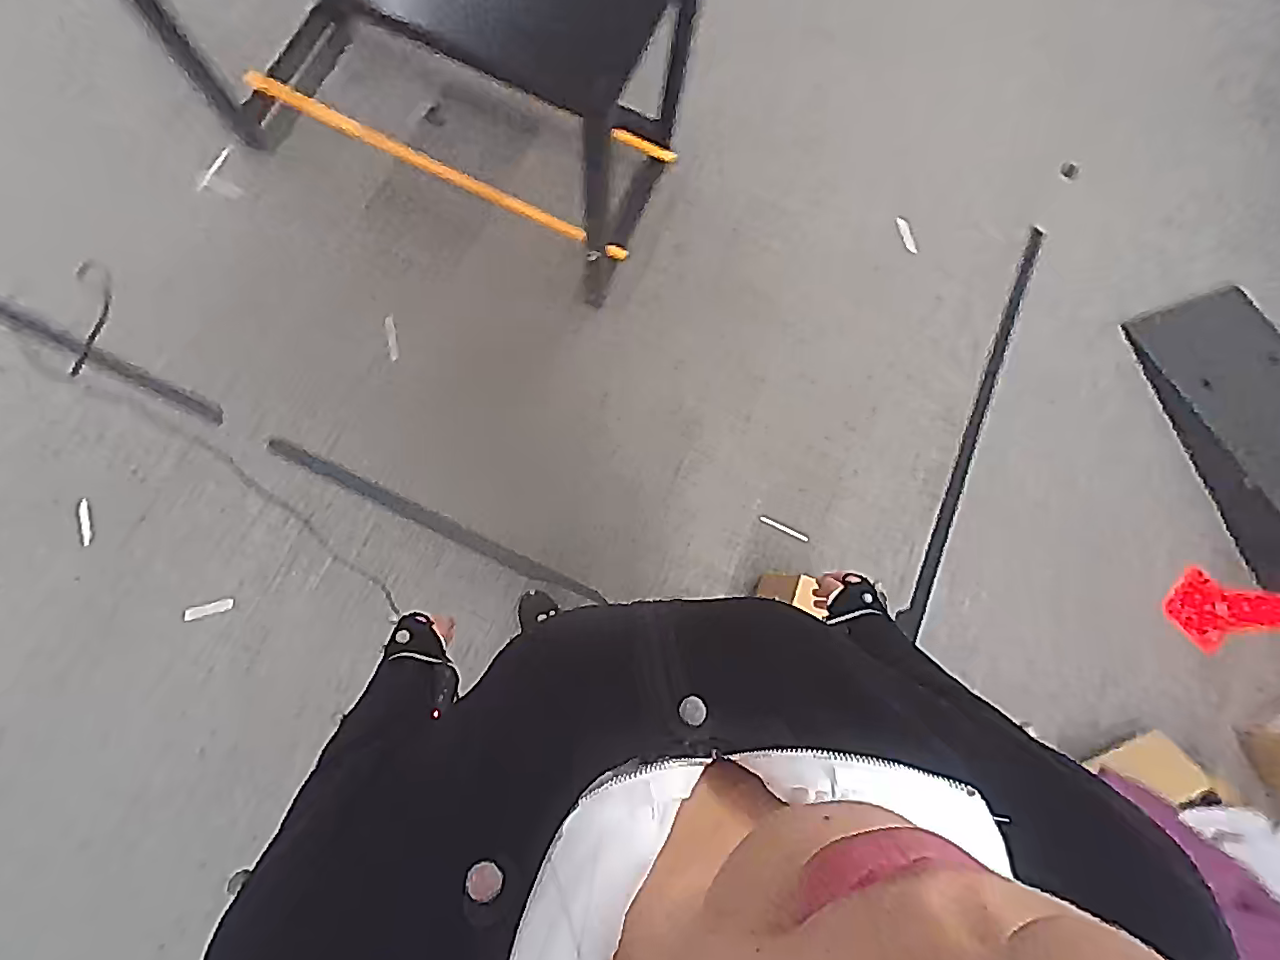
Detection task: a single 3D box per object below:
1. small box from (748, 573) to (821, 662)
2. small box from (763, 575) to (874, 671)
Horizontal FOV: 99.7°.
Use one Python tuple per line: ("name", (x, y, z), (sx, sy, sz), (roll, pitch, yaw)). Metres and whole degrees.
("small box", (0.407, 0.360, 1.448), (0.168, 0.176, 0.179), (23, 79, 0))
("small box", (0.417, 0.333, 1.288), (0.179, 0.176, 0.168), (21, 77, 1))
